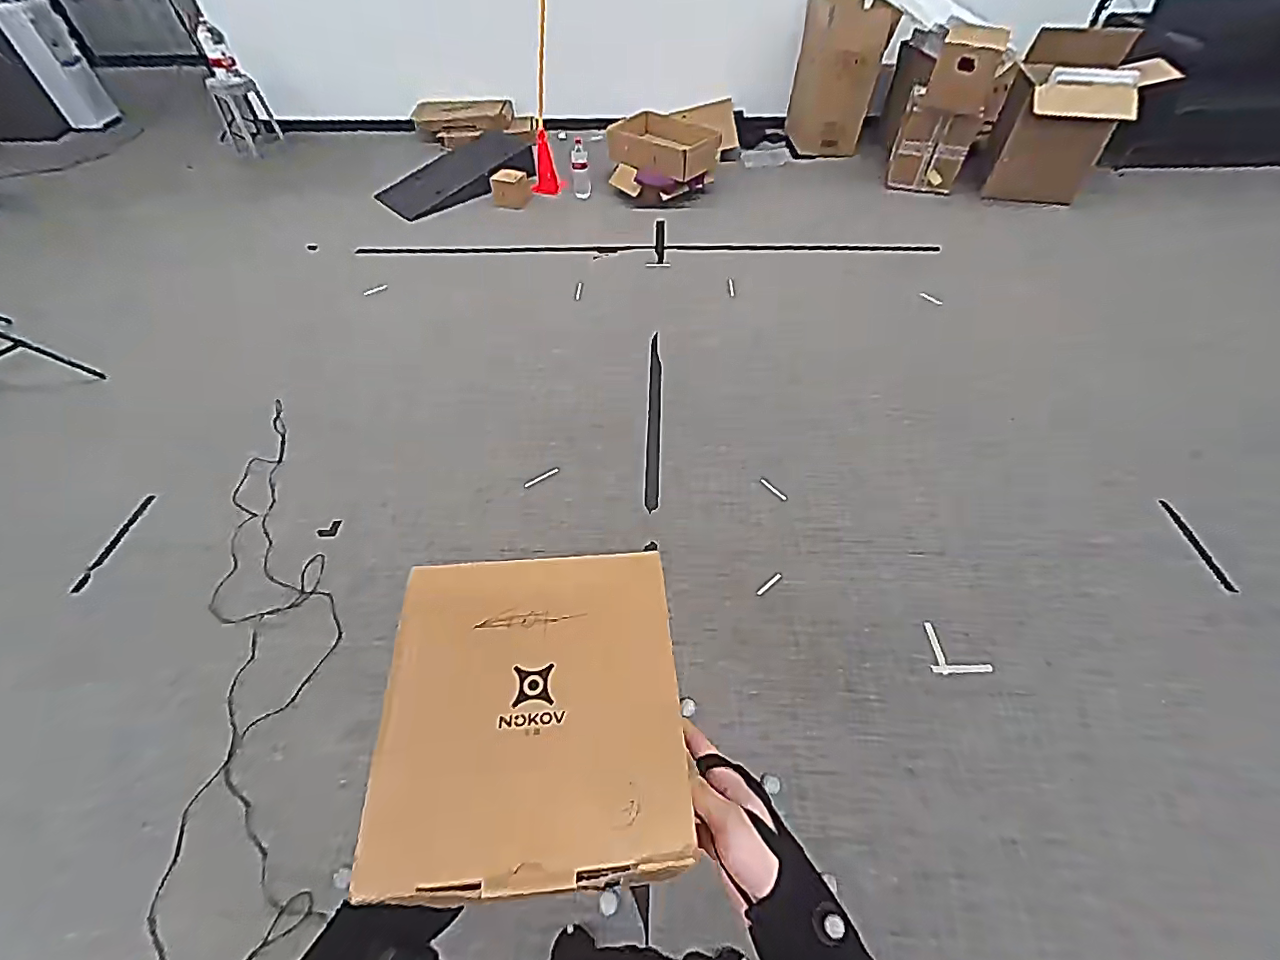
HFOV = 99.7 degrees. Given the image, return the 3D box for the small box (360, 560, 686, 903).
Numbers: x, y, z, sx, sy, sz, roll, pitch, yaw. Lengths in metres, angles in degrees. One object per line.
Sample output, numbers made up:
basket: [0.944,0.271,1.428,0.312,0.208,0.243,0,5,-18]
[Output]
small box: [-0.066,0.177,0.379,0.168,0.176,0.179,-3,51,-5]
